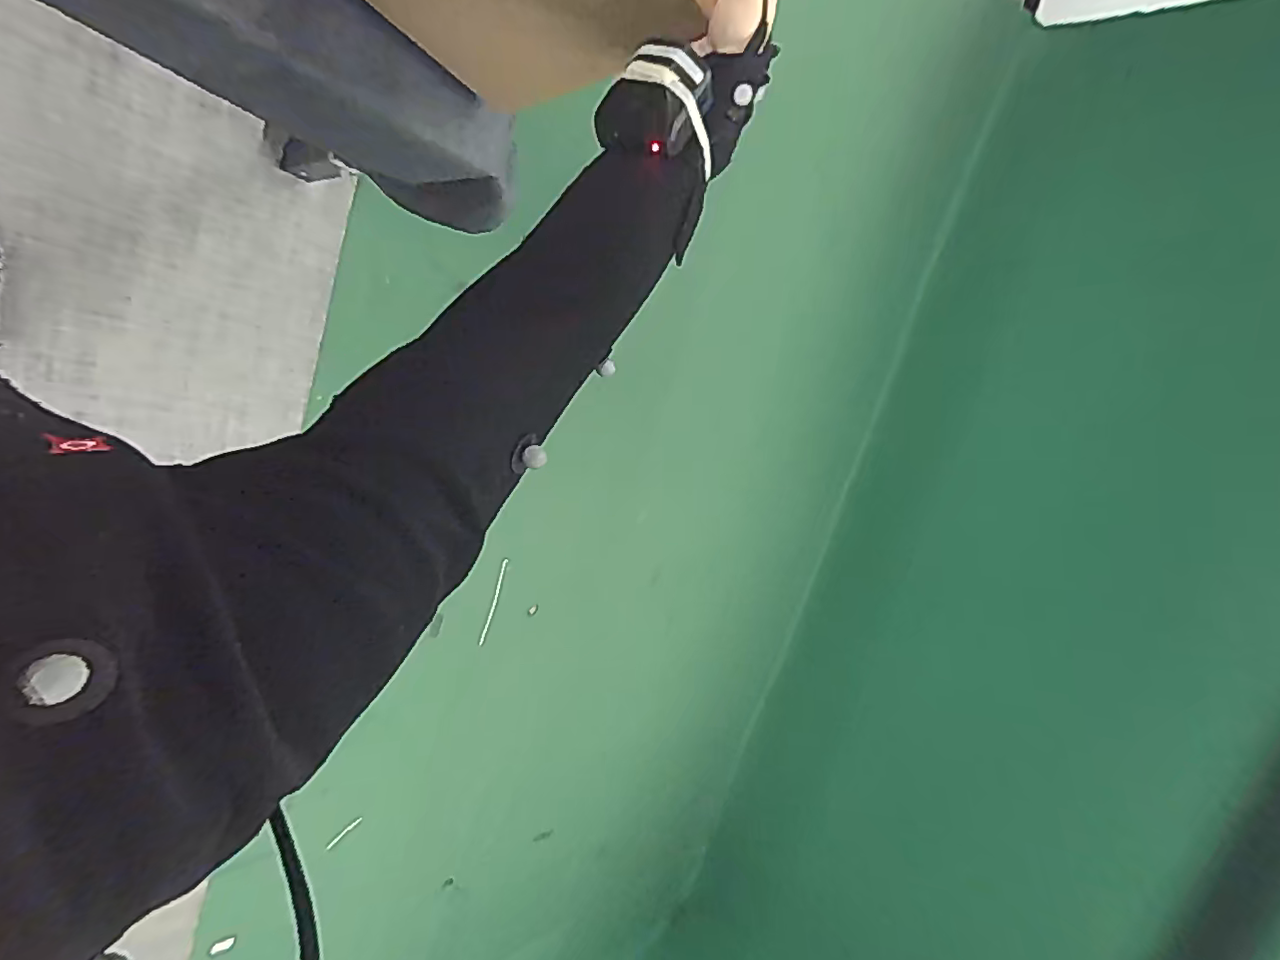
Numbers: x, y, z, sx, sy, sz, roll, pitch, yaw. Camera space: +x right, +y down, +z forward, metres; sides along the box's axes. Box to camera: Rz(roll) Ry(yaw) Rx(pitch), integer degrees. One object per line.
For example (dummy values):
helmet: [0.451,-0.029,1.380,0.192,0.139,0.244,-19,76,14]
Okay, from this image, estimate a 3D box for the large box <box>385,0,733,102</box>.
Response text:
large box: [-0.121,-0.545,0.336,0.408,0.320,0.320,18,94,-48]
